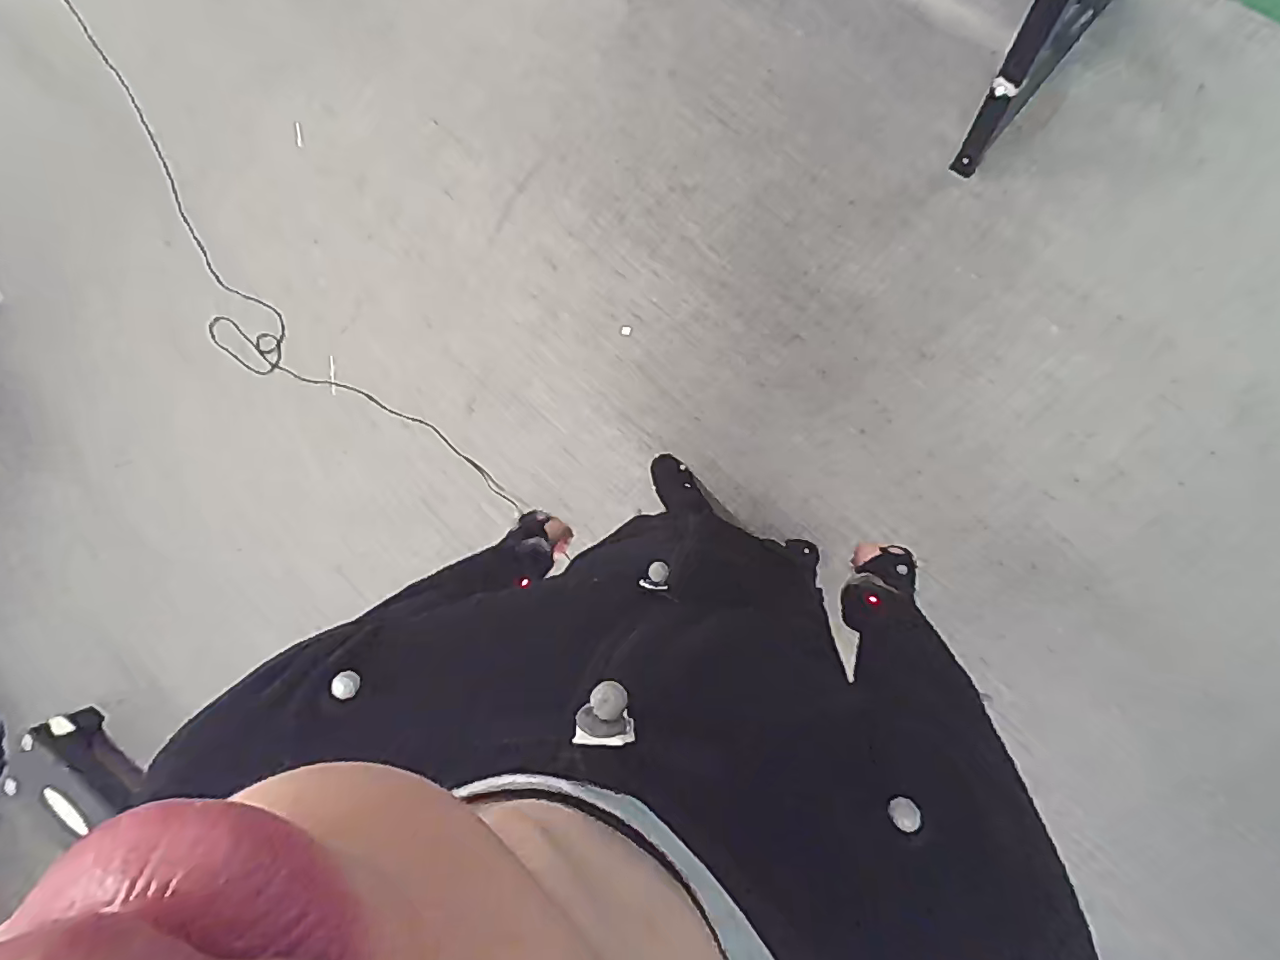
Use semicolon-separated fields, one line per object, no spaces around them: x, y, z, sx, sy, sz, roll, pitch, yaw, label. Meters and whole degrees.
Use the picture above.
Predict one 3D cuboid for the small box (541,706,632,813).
-0.144;0.788;1.542;0.168;0.176;0.179;37;97;11;small box
